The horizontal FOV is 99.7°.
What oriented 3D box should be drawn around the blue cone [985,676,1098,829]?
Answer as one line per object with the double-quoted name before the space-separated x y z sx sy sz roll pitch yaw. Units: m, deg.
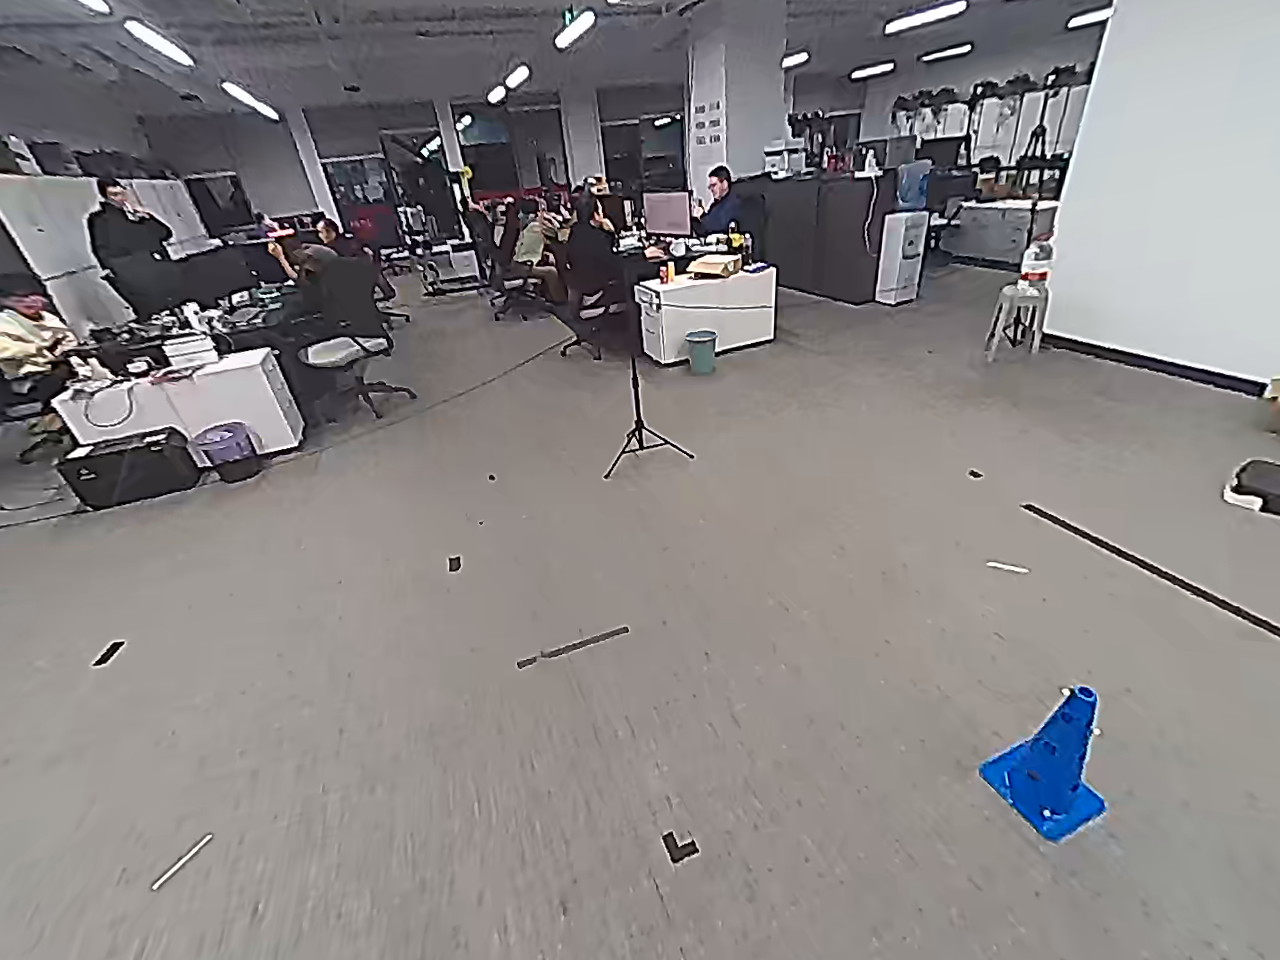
"blue cone" 0.970 0.603 1.250 0.193 0.380 0.192 -16 31 -15
